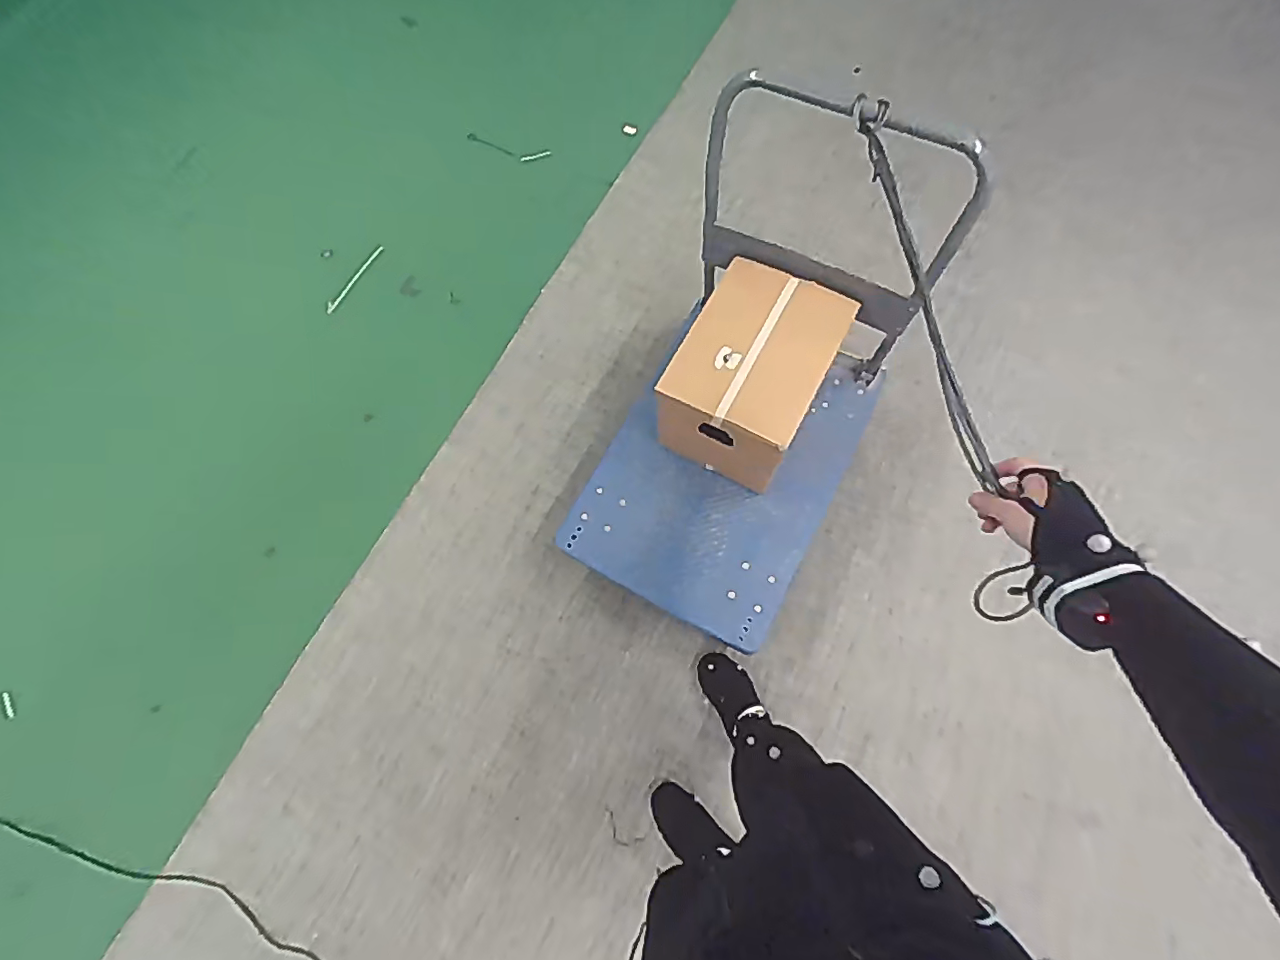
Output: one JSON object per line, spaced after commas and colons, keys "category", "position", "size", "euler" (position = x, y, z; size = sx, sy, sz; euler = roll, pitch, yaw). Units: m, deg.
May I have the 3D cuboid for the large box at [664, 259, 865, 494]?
{"category": "large box", "position": [0.284, -0.239, 1.318], "size": [0.320, 0.320, 0.408], "euler": [27, 76, 13]}
